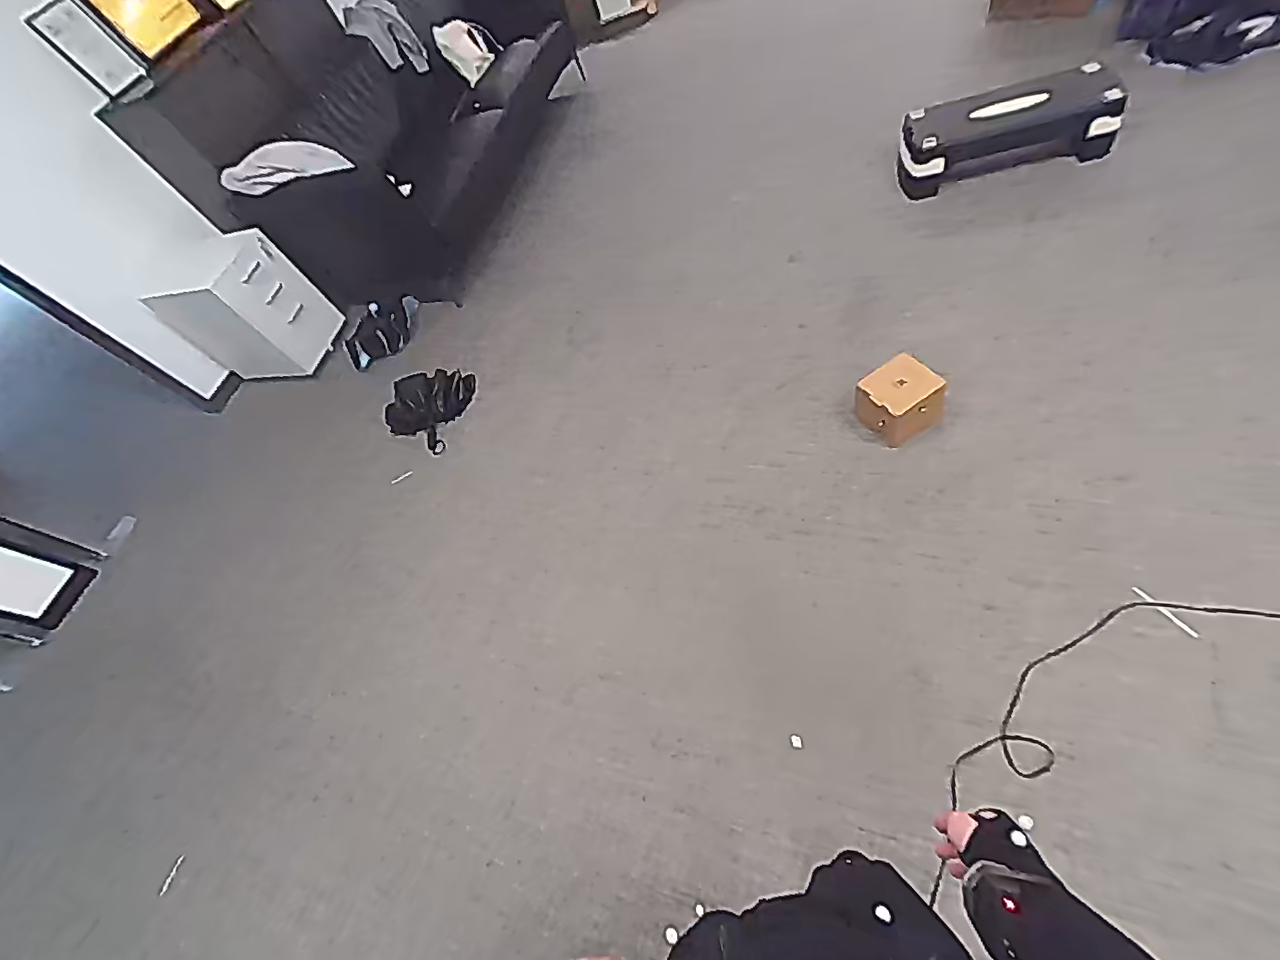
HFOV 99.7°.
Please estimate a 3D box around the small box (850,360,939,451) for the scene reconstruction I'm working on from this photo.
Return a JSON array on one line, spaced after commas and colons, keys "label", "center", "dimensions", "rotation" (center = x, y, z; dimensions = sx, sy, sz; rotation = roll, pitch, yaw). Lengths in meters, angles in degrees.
[{"label": "small box", "center": [0.759, -0.218, 1.627], "dimensions": [0.179, 0.176, 0.168], "rotation": [-34, 55, -4]}]
